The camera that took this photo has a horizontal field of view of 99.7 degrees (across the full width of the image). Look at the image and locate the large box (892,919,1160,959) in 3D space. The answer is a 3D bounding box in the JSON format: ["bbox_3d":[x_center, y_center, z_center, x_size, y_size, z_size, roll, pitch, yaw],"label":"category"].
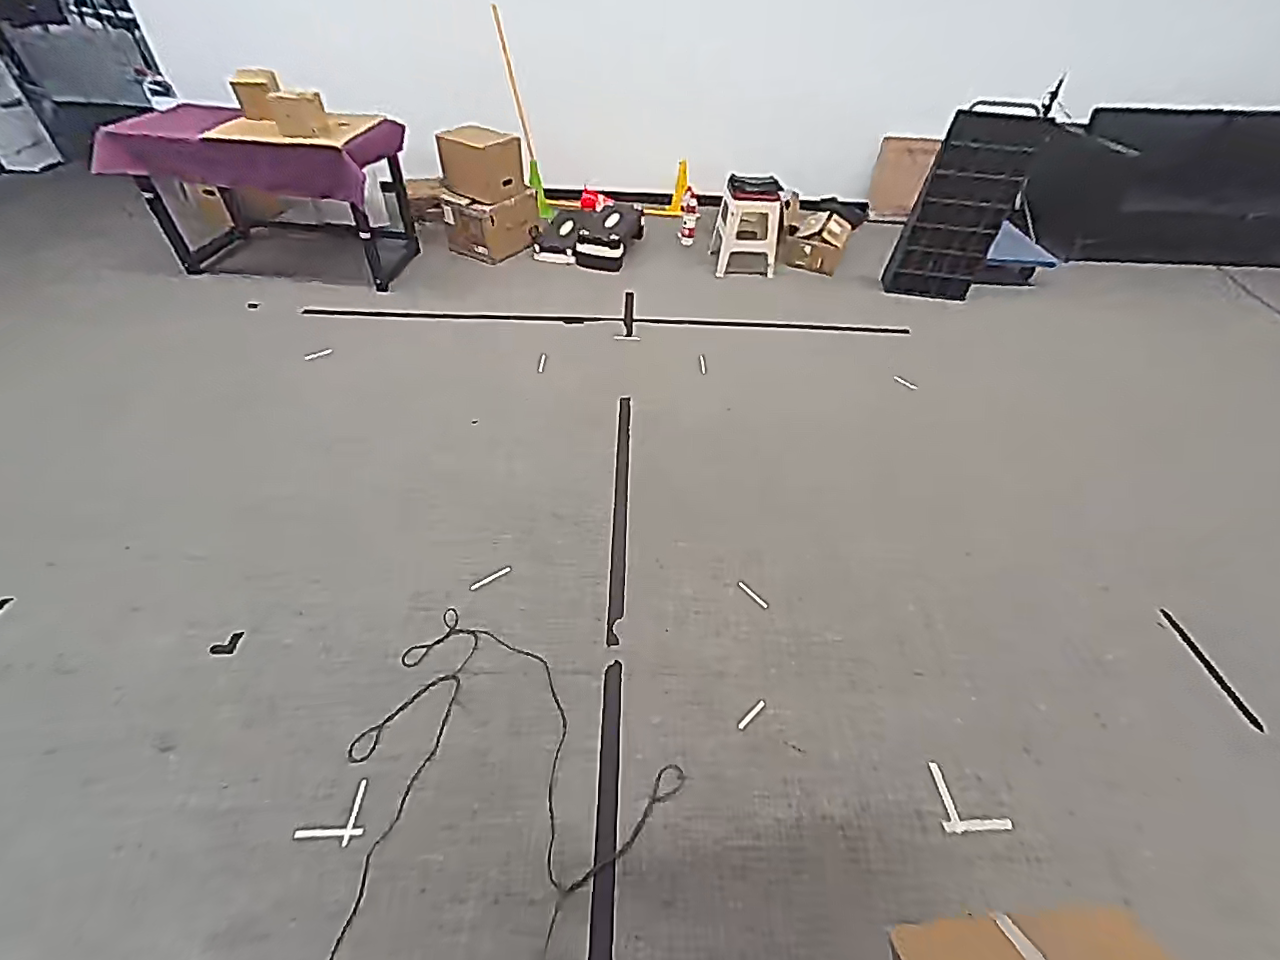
[{"bbox_3d":[0.510,0.752,0.547,0.320,0.408,0.320,-9,82,3],"label":"large box"}]
